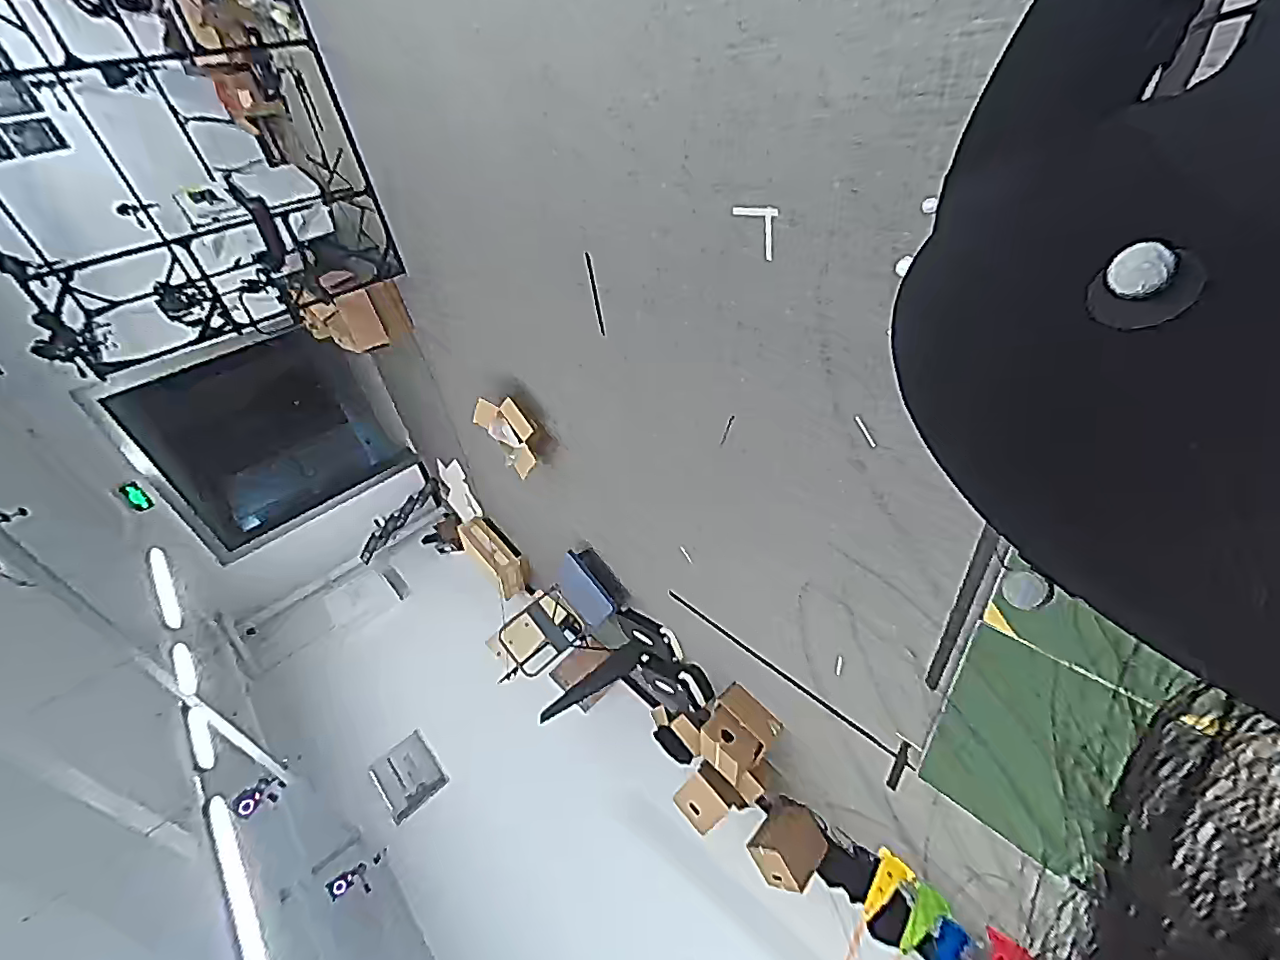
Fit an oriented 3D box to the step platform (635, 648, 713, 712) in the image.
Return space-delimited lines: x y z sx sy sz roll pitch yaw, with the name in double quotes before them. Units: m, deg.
"step platform" 0.243 1.533 4.164 0.684 0.204 0.286 -6 115 57
